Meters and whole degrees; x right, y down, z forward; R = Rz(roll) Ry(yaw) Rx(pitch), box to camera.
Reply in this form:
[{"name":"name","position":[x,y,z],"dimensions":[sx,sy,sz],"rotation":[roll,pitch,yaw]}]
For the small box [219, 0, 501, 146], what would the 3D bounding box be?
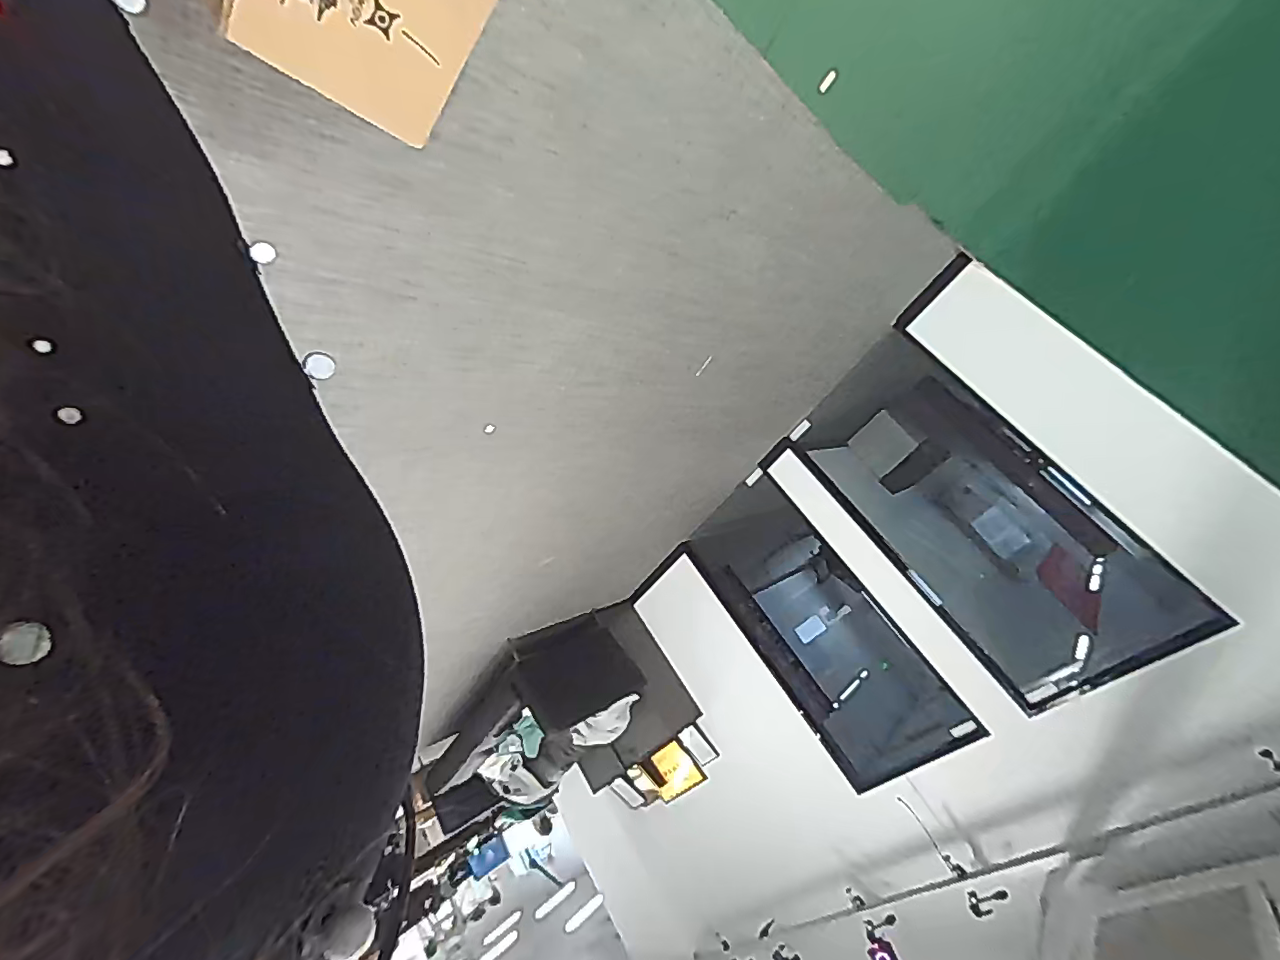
[{"name":"small box","position":[-0.260,-0.453,0.477],"dimensions":[0.168,0.176,0.179],"rotation":[-46,156,25]}]
